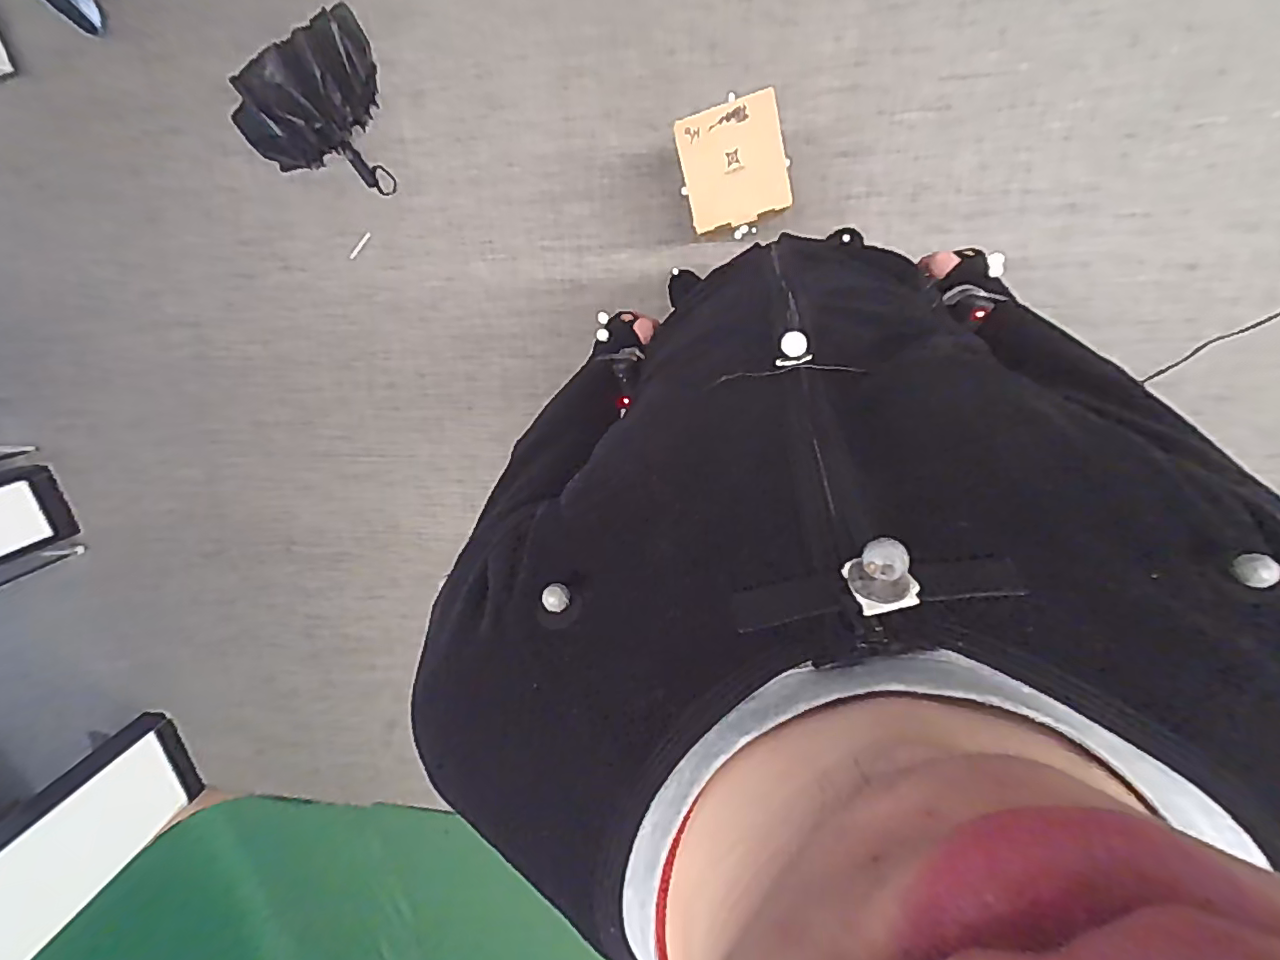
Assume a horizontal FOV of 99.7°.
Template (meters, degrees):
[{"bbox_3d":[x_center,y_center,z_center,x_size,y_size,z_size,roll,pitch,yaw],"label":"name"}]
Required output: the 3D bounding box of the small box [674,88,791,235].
[{"bbox_3d":[0.167,-0.548,0.954,0.168,0.176,0.179,-11,111,15],"label":"small box"}]
